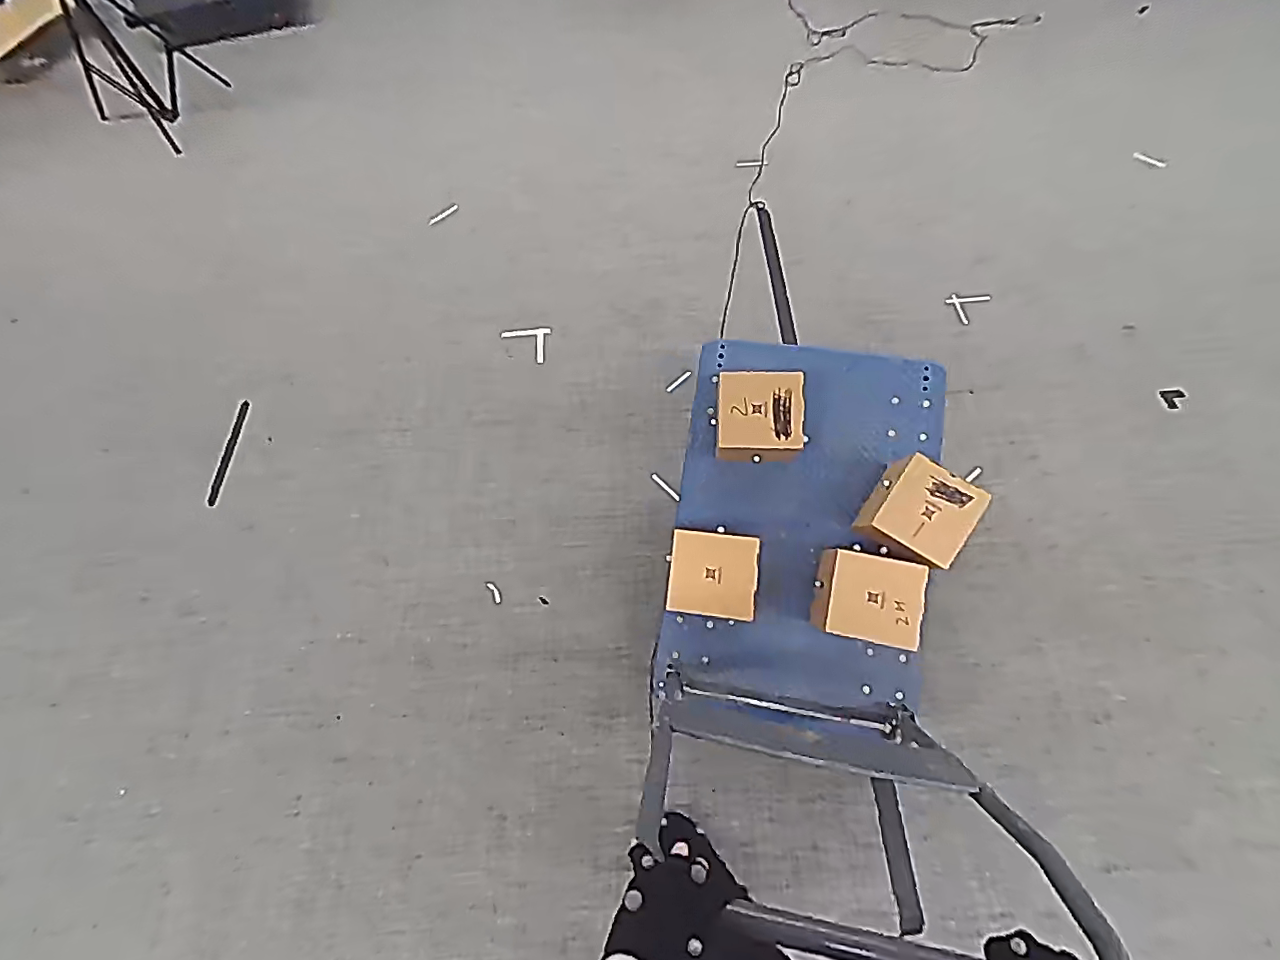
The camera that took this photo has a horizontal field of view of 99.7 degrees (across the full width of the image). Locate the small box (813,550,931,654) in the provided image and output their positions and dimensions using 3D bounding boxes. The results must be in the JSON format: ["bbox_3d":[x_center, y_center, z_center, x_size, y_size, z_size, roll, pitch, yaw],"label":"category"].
[{"bbox_3d":[0.468,0.246,1.117,0.179,0.176,0.168,11,83,9],"label":"small box"}]

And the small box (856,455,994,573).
[{"bbox_3d":[0.581,0.075,1.131,0.168,0.176,0.179,33,87,11],"label":"small box"}]

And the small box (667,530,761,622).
[{"bbox_3d":[0.158,0.205,1.163,0.179,0.176,0.168,6,82,6],"label":"small box"}]
